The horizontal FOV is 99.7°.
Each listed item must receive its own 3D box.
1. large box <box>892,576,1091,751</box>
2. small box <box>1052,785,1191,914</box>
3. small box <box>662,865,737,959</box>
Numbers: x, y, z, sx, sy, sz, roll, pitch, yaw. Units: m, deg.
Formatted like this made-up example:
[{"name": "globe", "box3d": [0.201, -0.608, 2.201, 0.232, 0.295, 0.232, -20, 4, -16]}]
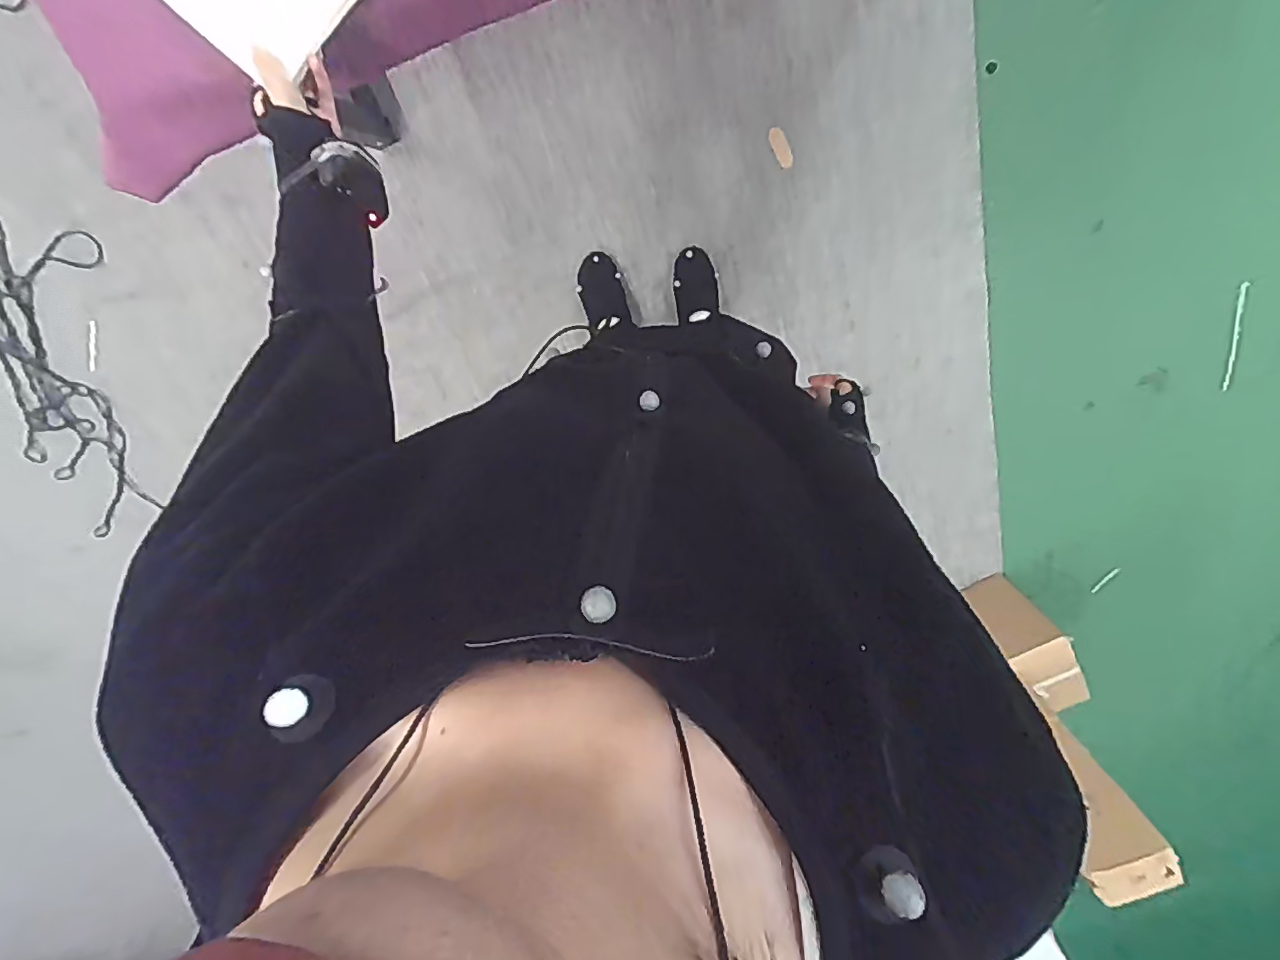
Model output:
[{"name": "large box", "box3d": [1.128, 0.594, 1.773, 0.408, 0.320, 0.320, -32, 114, 11]}, {"name": "small box", "box3d": [1.110, 0.860, 1.265, 0.179, 0.176, 0.168, -30, 113, 13]}, {"name": "small box", "box3d": [0.168, 1.285, 1.611, 0.168, 0.176, 0.179, 13, 116, -9]}]
